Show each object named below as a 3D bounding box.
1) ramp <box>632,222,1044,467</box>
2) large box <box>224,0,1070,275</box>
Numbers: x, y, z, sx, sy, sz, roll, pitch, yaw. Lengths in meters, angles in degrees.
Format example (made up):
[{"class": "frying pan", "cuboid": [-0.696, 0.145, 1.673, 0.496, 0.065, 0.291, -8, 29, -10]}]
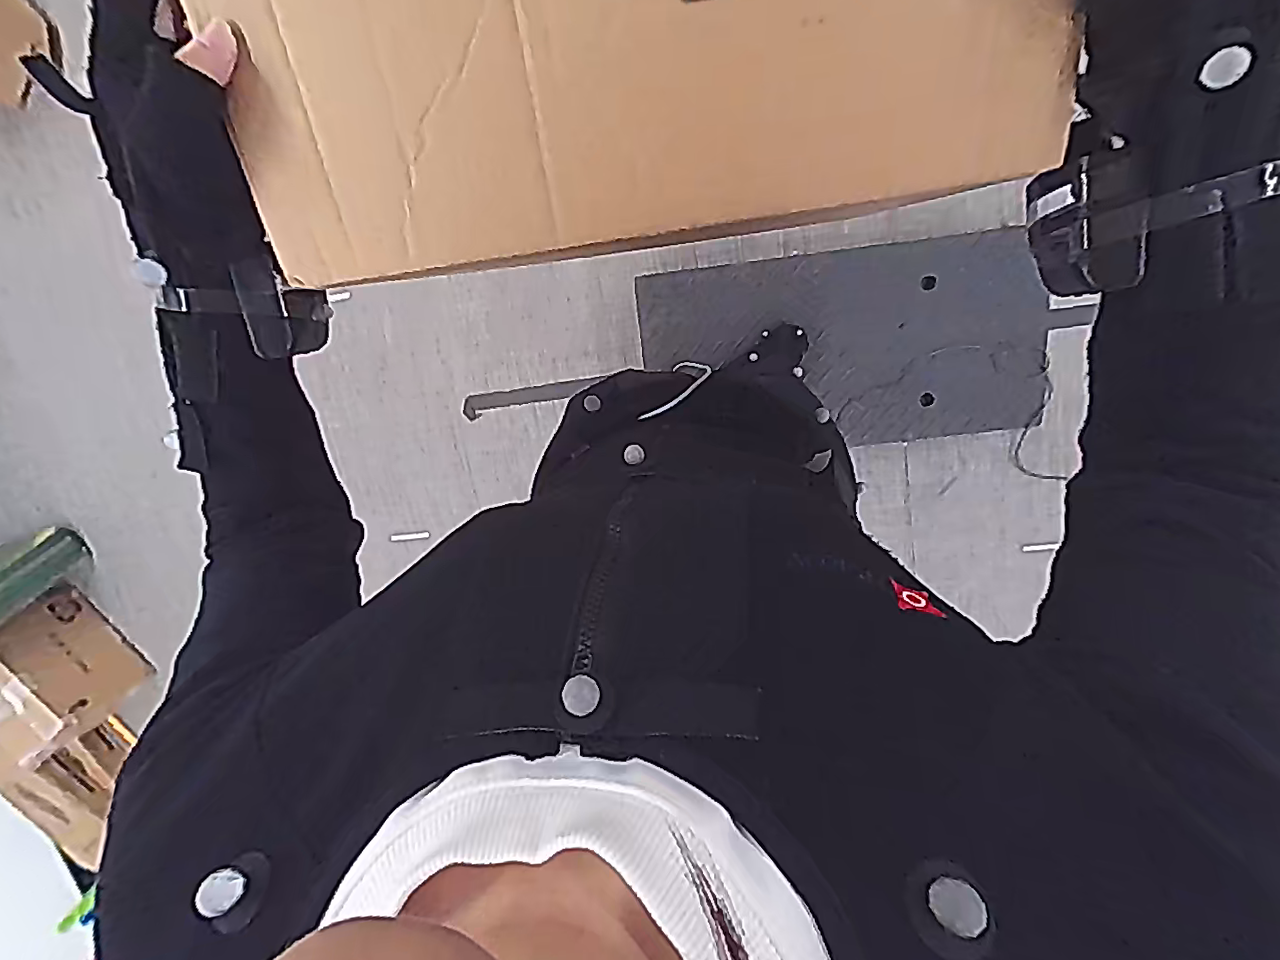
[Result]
[{"class": "ramp", "cuboid": [0.500, -0.328, 1.366, 0.991, 0.206, 0.509, -6, 103, 12]}, {"class": "large box", "cuboid": [-0.002, -0.338, 0.371, 0.408, 0.320, 0.320, -5, 113, 9]}]
